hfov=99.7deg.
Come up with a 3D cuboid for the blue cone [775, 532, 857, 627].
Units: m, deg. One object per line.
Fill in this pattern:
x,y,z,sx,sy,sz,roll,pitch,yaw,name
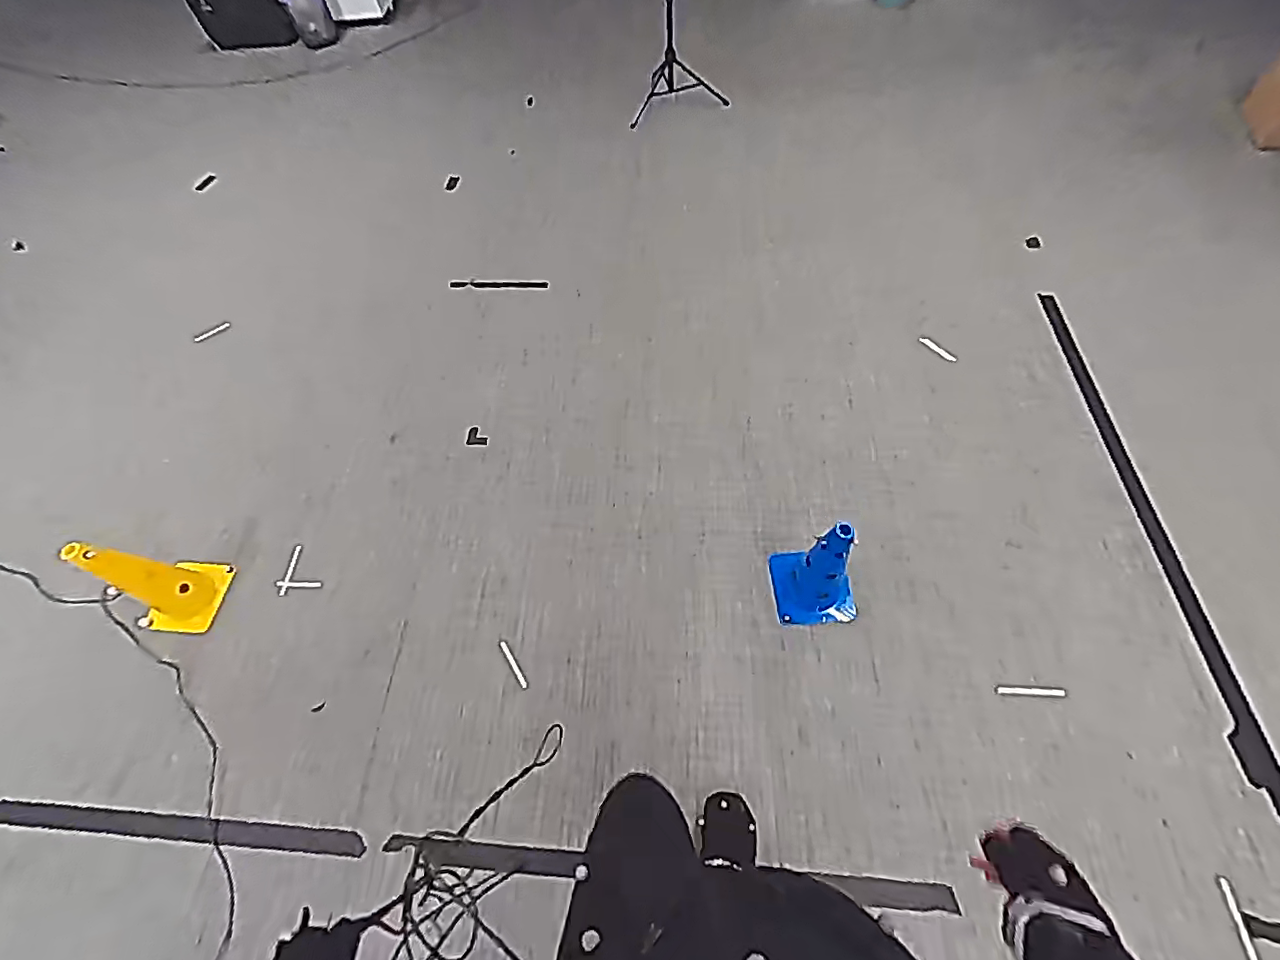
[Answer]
0.448,0.208,1.292,0.193,0.380,0.192,-4,60,3,blue cone
